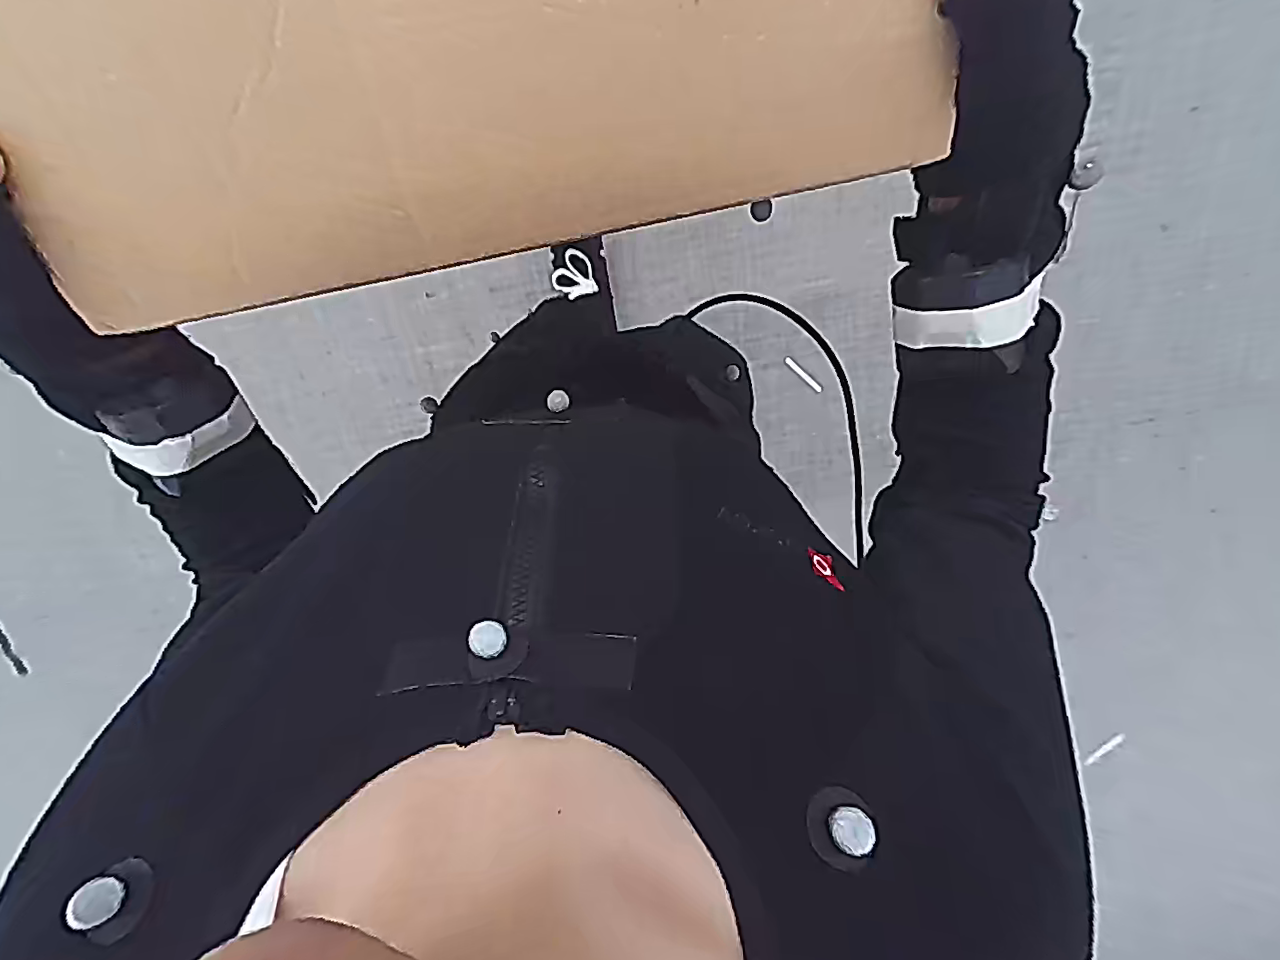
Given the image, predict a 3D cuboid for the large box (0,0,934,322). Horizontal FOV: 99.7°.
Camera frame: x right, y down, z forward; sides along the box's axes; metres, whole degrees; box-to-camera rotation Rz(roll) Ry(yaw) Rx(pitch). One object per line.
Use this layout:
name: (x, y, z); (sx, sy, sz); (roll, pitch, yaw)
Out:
large box: (-0.100, -0.322, 0.304); (0.408, 0.320, 0.320); (-11, 121, 3)
